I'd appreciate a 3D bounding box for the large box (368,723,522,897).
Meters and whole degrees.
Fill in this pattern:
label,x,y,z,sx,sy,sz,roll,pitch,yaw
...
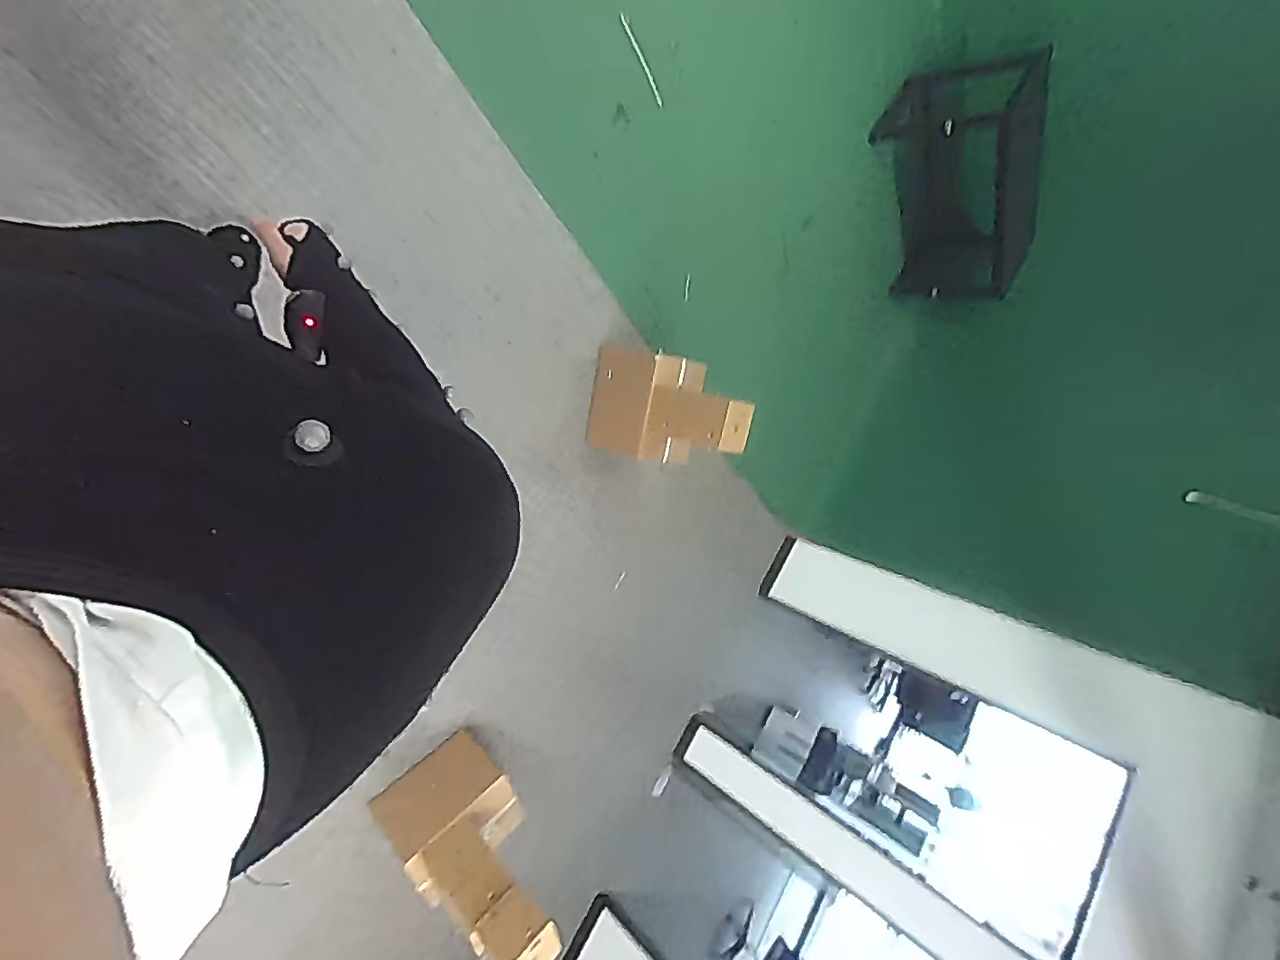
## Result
label,x,y,z,sx,sy,sz,roll,pitch,yaw
large box,-0.732,1.234,2.057,0.408,0.320,0.320,-35,131,-35

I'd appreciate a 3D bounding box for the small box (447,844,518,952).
label,x,y,z,sx,sy,sz,roll,pitch,yaw
small box,-0.493,1.329,1.728,0.179,0.176,0.168,-31,127,-38

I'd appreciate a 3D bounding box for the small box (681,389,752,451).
label,x,y,z,sx,sy,sz,roll,pitch,yaw
small box,0.263,-0.210,1.893,0.168,0.176,0.179,0,106,-49

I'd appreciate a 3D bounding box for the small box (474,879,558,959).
label,x,y,z,sx,sy,sz,roll,pitch,yaw
small box,-0.371,1.356,1.621,0.168,0.176,0.179,-30,127,-39

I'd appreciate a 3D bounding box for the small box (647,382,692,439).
label,x,y,z,sx,sy,sz,roll,pitch,yaw
small box,0.146,-0.255,1.999,0.168,0.176,0.179,-2,107,-48
